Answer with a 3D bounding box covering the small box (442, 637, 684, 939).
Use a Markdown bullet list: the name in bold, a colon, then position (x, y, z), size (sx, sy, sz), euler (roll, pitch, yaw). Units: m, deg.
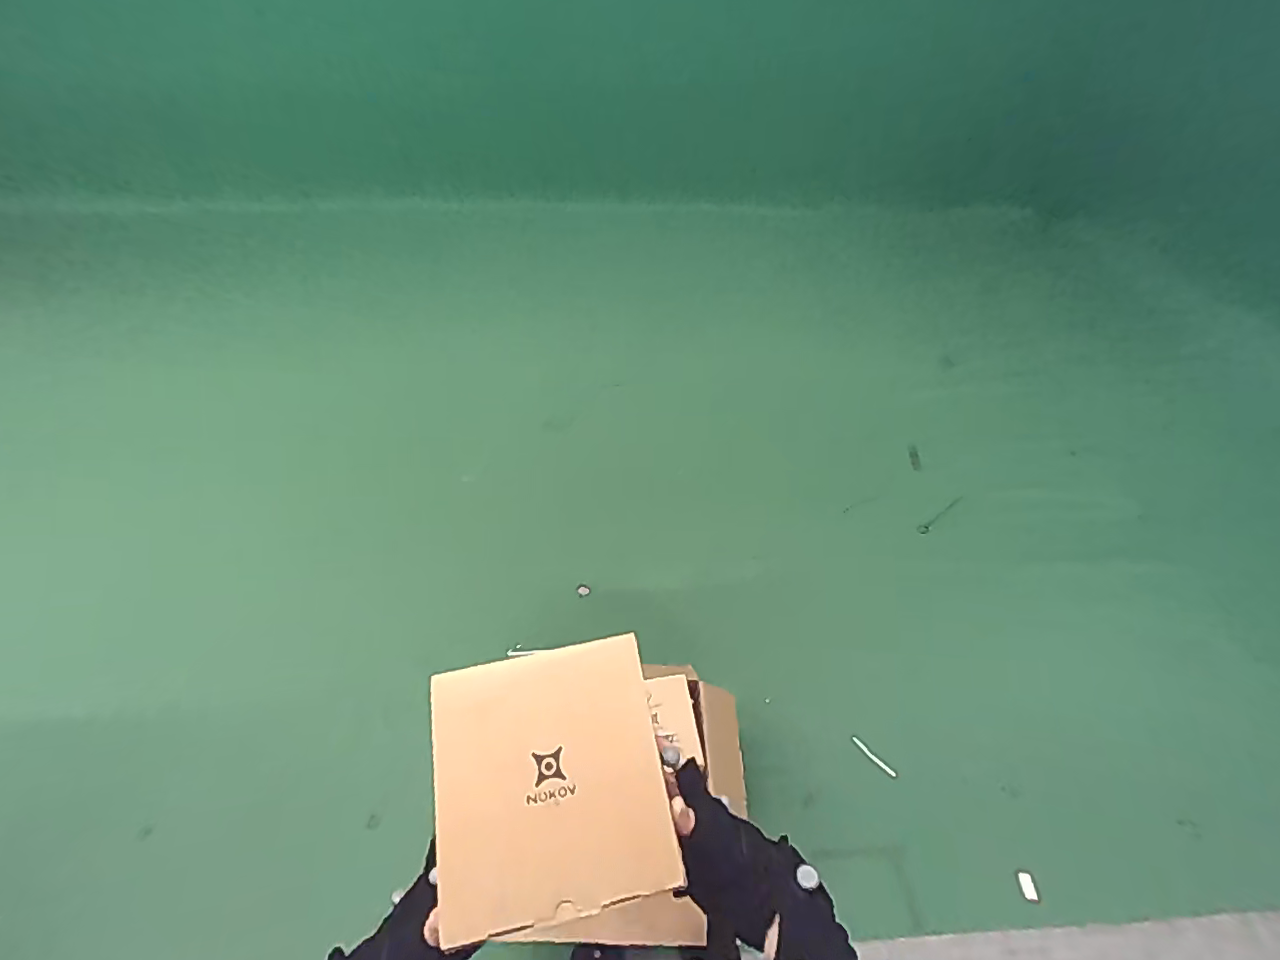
- **small box**: position (-0.068, 0.255, 0.477), size (0.168, 0.176, 0.179), euler (-9, 64, -7)
